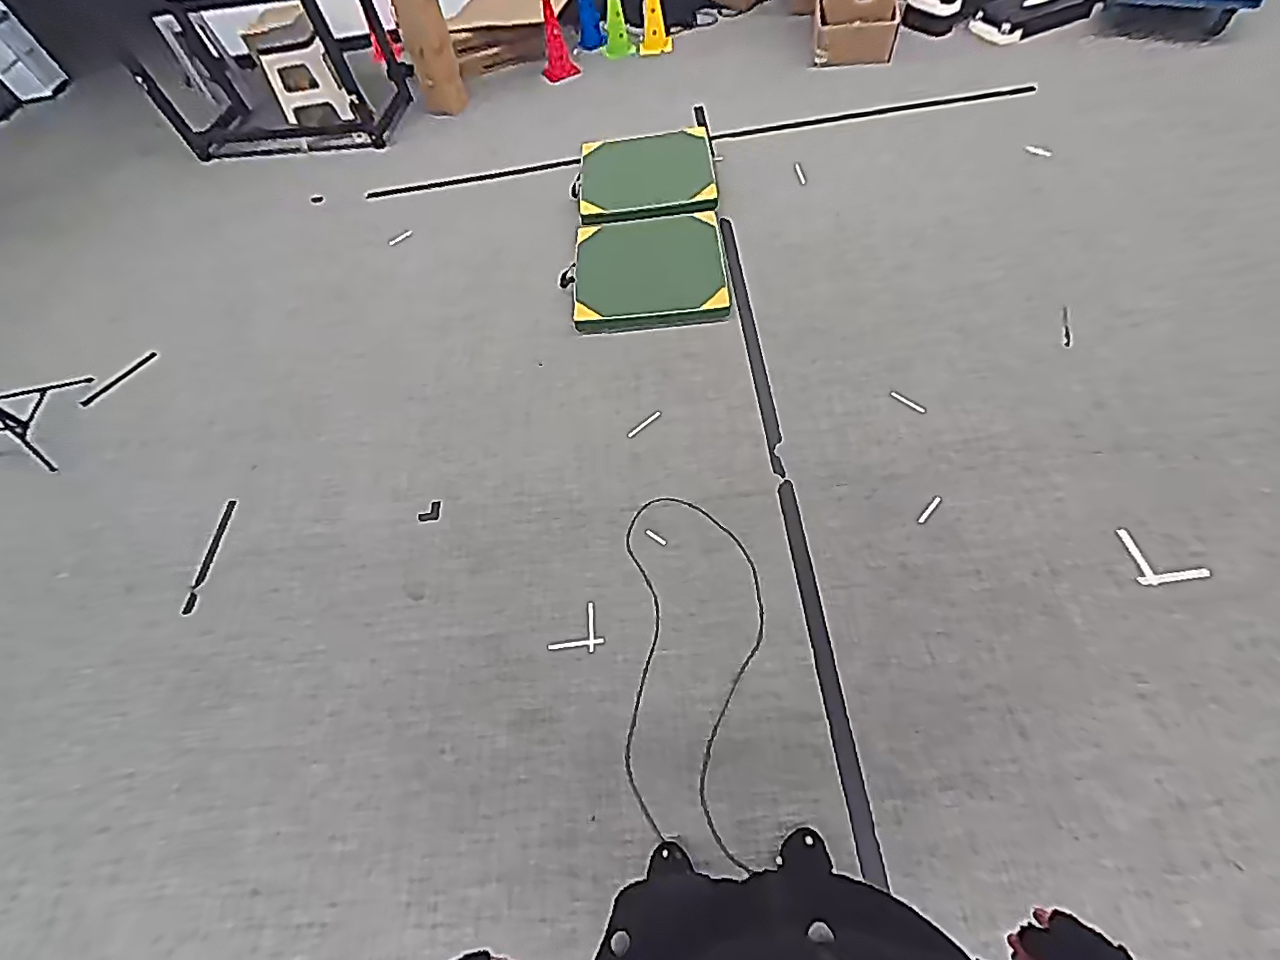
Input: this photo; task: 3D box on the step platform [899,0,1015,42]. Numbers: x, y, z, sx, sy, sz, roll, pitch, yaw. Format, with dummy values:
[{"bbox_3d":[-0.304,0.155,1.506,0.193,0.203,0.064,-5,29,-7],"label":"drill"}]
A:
[{"bbox_3d":[1.814,-2.723,3.039,0.684,0.204,0.286,-31,60,-11],"label":"step platform"}]
